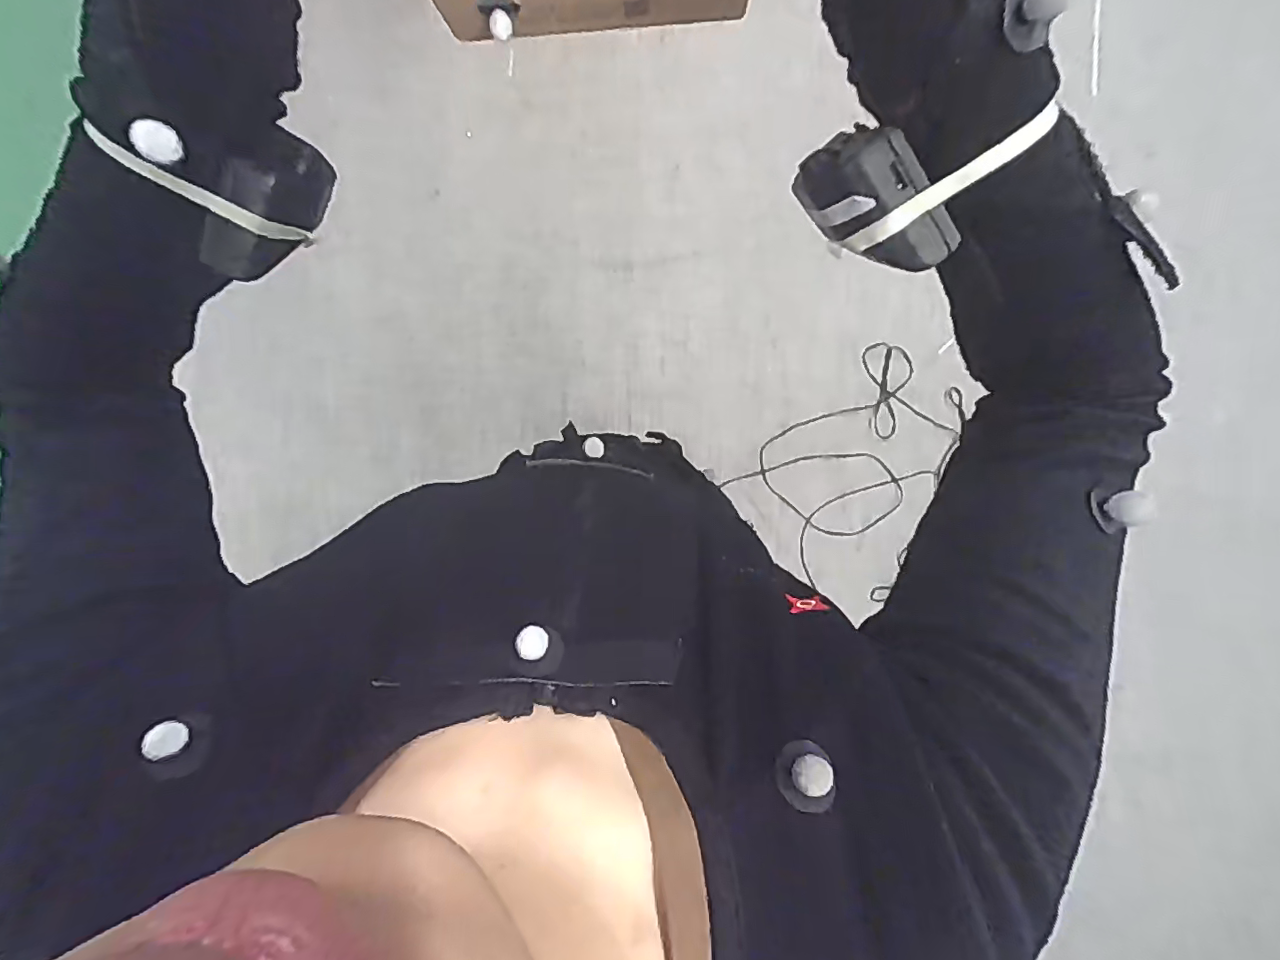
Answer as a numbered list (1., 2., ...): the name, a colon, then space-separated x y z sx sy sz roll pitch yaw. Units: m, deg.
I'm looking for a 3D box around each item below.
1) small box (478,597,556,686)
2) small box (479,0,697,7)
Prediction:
1. small box: -0.316 0.417 1.417 0.168 0.176 0.179 2 92 0
2. small box: -0.030 -0.325 0.205 0.168 0.176 0.179 -3 101 2
